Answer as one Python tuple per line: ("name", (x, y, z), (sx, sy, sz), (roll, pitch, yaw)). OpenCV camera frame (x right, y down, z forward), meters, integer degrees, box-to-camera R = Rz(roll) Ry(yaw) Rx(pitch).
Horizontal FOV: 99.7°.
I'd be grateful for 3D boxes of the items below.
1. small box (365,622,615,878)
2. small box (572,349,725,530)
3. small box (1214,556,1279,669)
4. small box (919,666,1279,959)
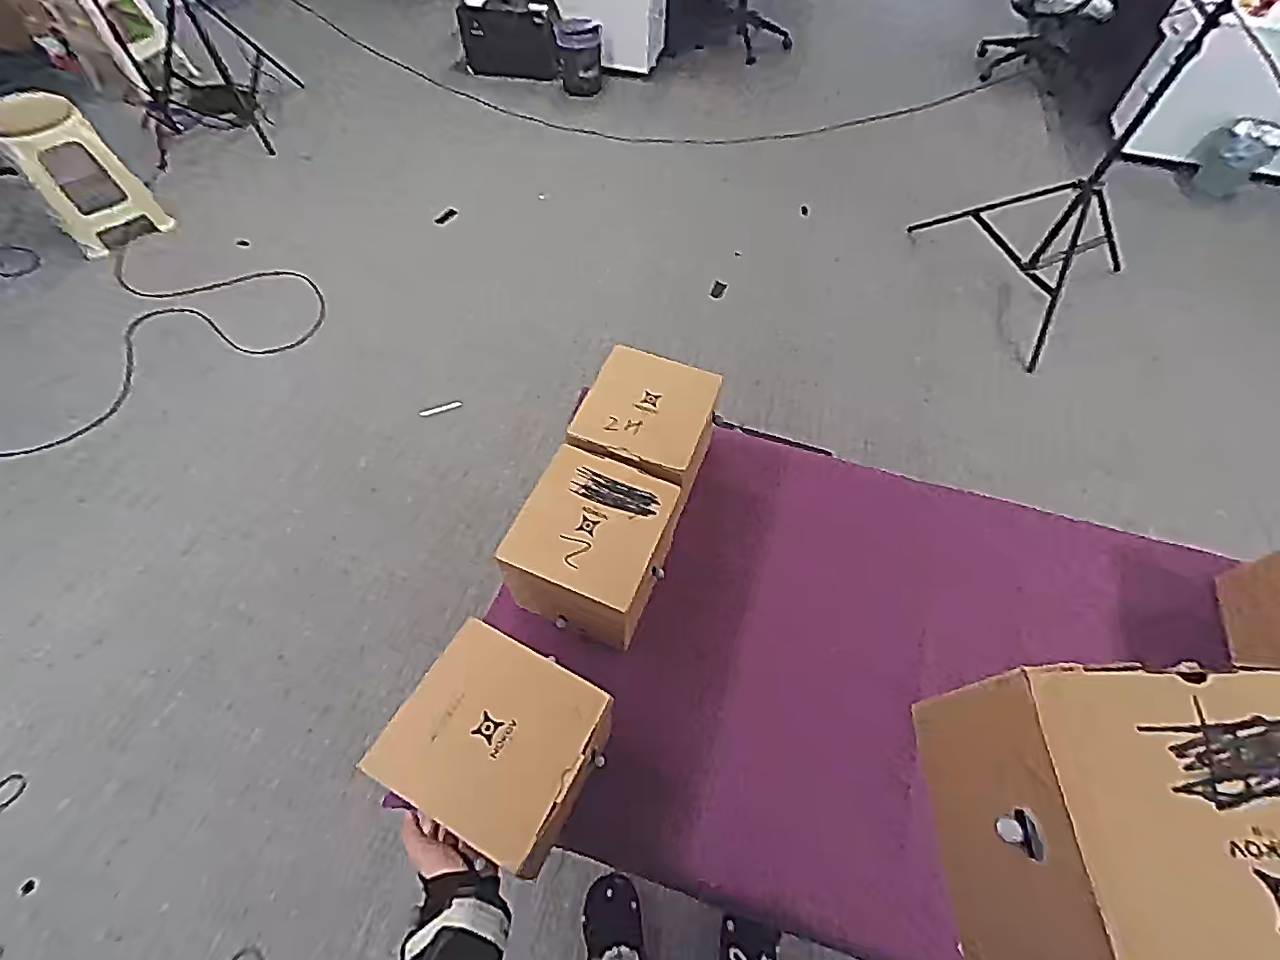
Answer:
("small box", (-0.142, 0.287, 0.575), (0.179, 0.176, 0.168), (24, 53, 13))
("small box", (0.012, -0.056, 0.800), (0.168, 0.176, 0.179), (19, 59, 10))
("small box", (0.886, 0.194, 0.674), (0.168, 0.176, 0.179), (19, 58, 9))
("small box", (0.286, 0.212, 0.309), (0.168, 0.176, 0.179), (-2, 61, 4))
